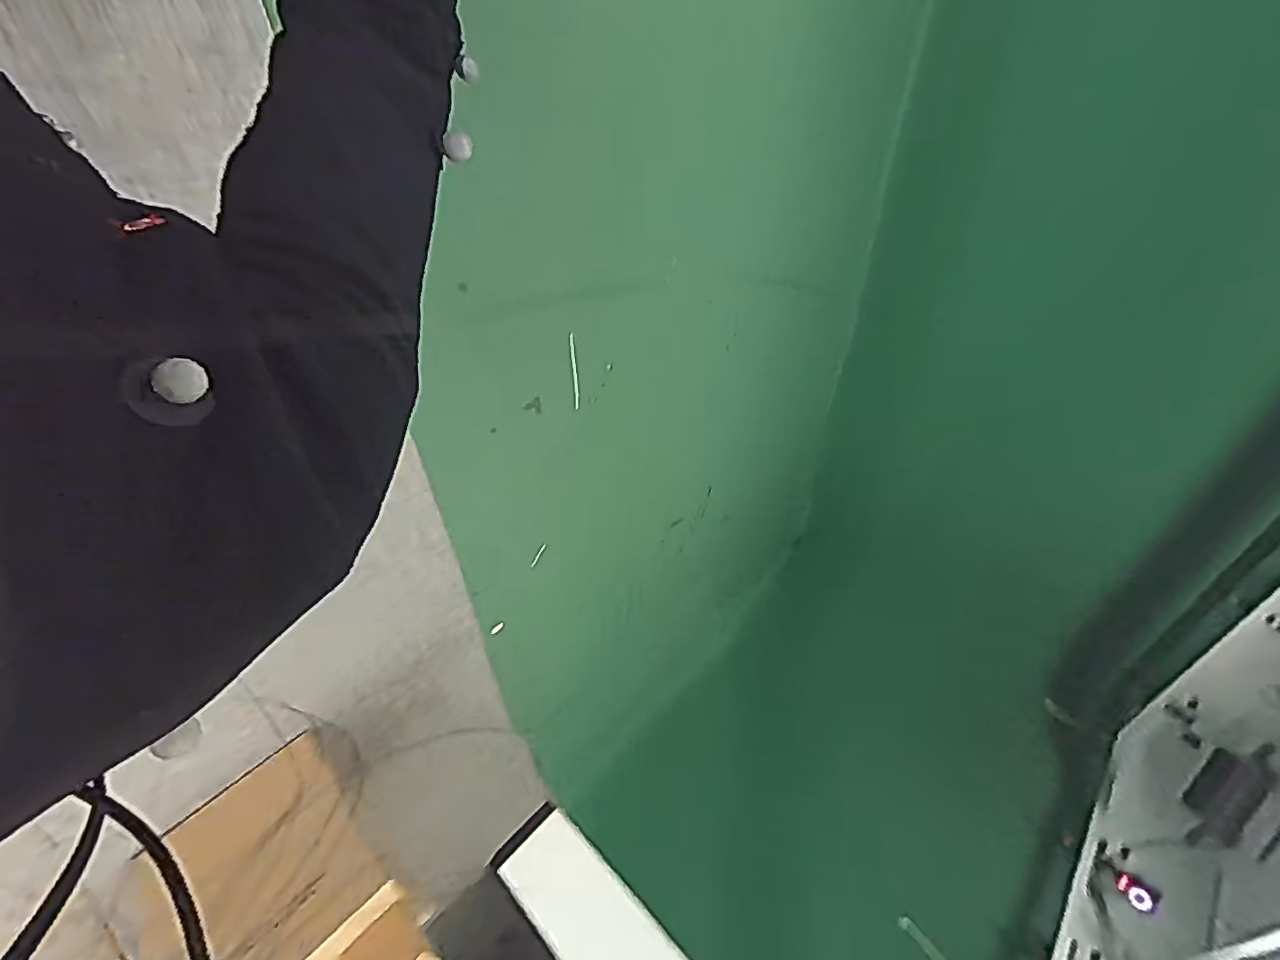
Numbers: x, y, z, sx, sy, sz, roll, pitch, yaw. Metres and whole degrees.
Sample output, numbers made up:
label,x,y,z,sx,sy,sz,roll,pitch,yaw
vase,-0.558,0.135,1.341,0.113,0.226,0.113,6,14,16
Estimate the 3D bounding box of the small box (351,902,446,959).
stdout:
label,x,y,z,sx,sy,sz,roll,pitch,yaw
small box,-0.678,1.343,1.510,0.179,0.176,0.168,-38,137,-32
